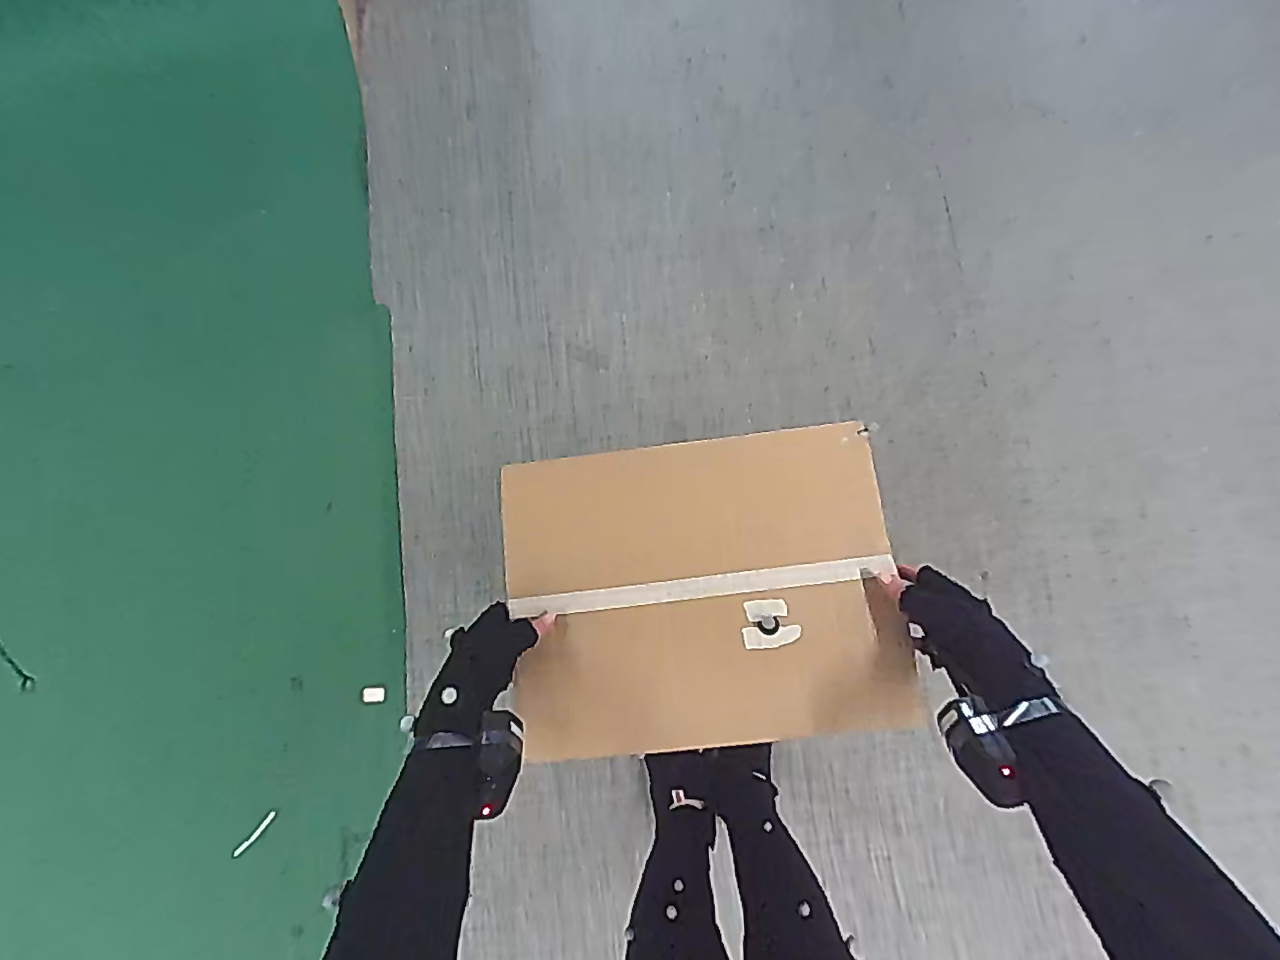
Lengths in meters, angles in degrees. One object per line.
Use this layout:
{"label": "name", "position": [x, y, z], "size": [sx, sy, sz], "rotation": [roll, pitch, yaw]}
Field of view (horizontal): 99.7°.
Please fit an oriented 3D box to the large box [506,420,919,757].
{"label": "large box", "position": [0.070, 0.141, 0.711], "size": [0.408, 0.320, 0.320], "rotation": [-6, 77, 3]}
